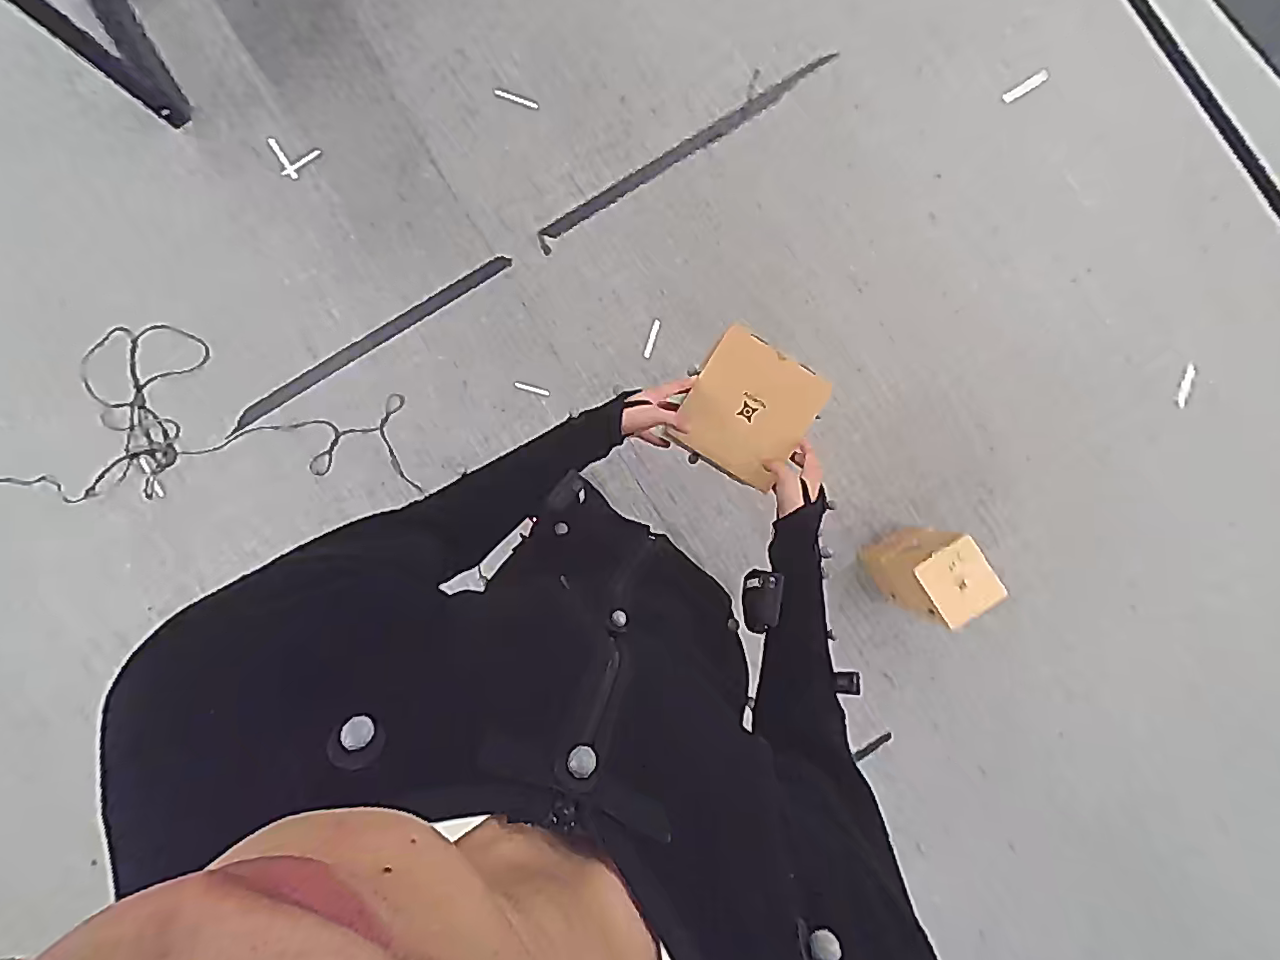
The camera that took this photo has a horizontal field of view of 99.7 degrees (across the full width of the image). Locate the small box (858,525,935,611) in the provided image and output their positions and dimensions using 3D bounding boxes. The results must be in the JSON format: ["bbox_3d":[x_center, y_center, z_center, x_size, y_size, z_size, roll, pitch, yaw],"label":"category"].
[{"bbox_3d":[0.755,0.240,1.526,0.168,0.176,0.179,-32,88,-1],"label":"small box"}]

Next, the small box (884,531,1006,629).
[{"bbox_3d":[0.758,0.242,1.362,0.168,0.176,0.179,-32,88,-2],"label":"small box"}]

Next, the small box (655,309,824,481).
[{"bbox_3d":[0.134,-0.115,0.797,0.168,0.176,0.179,30,91,-2],"label":"small box"}]
